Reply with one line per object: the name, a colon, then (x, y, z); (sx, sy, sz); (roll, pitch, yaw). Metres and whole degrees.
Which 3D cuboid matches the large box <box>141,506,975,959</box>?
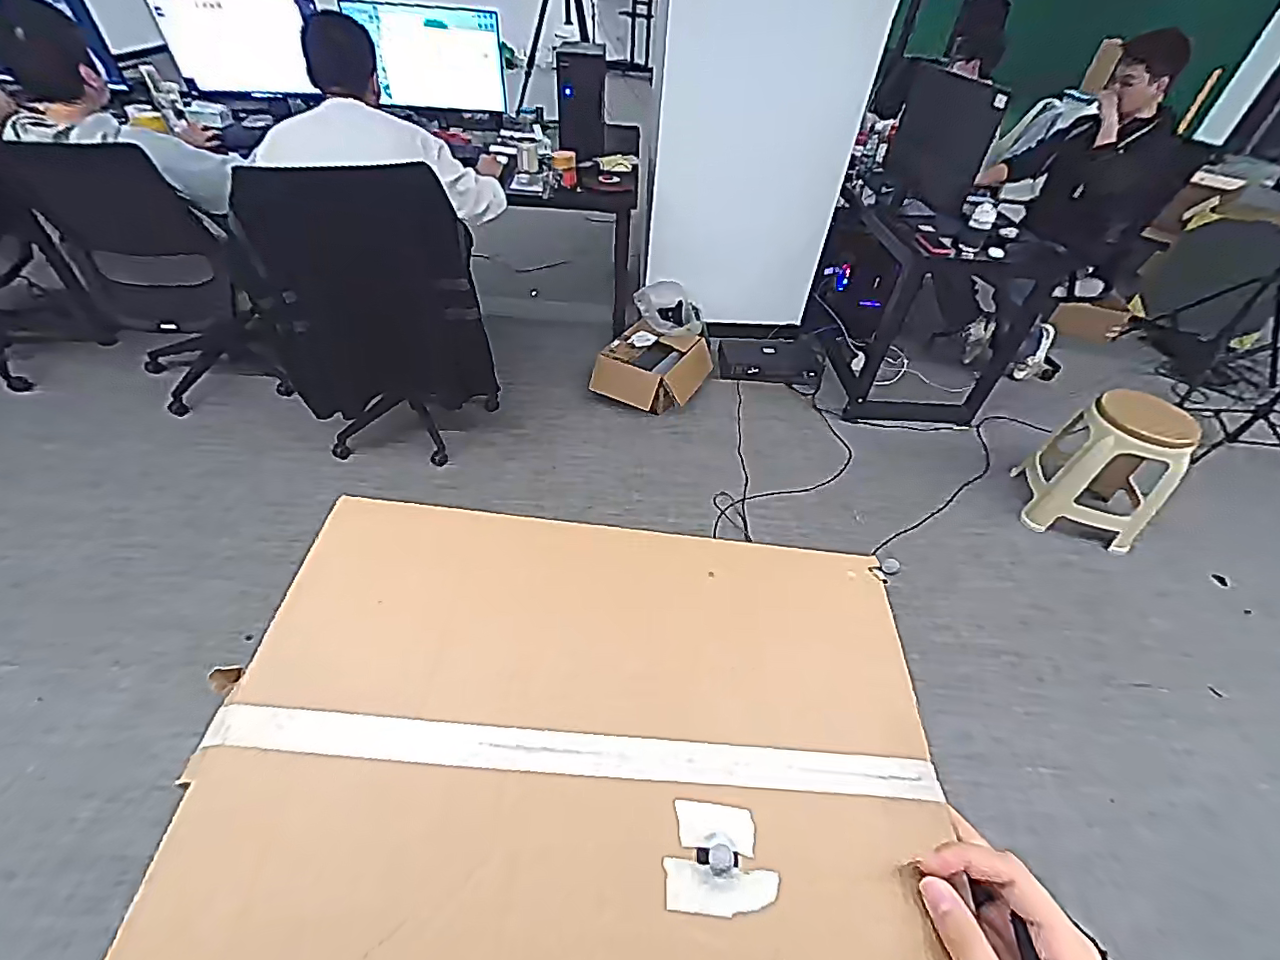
large box: (-0.042, 0.252, 0.431); (0.408, 0.320, 0.320); (8, 51, -5)
